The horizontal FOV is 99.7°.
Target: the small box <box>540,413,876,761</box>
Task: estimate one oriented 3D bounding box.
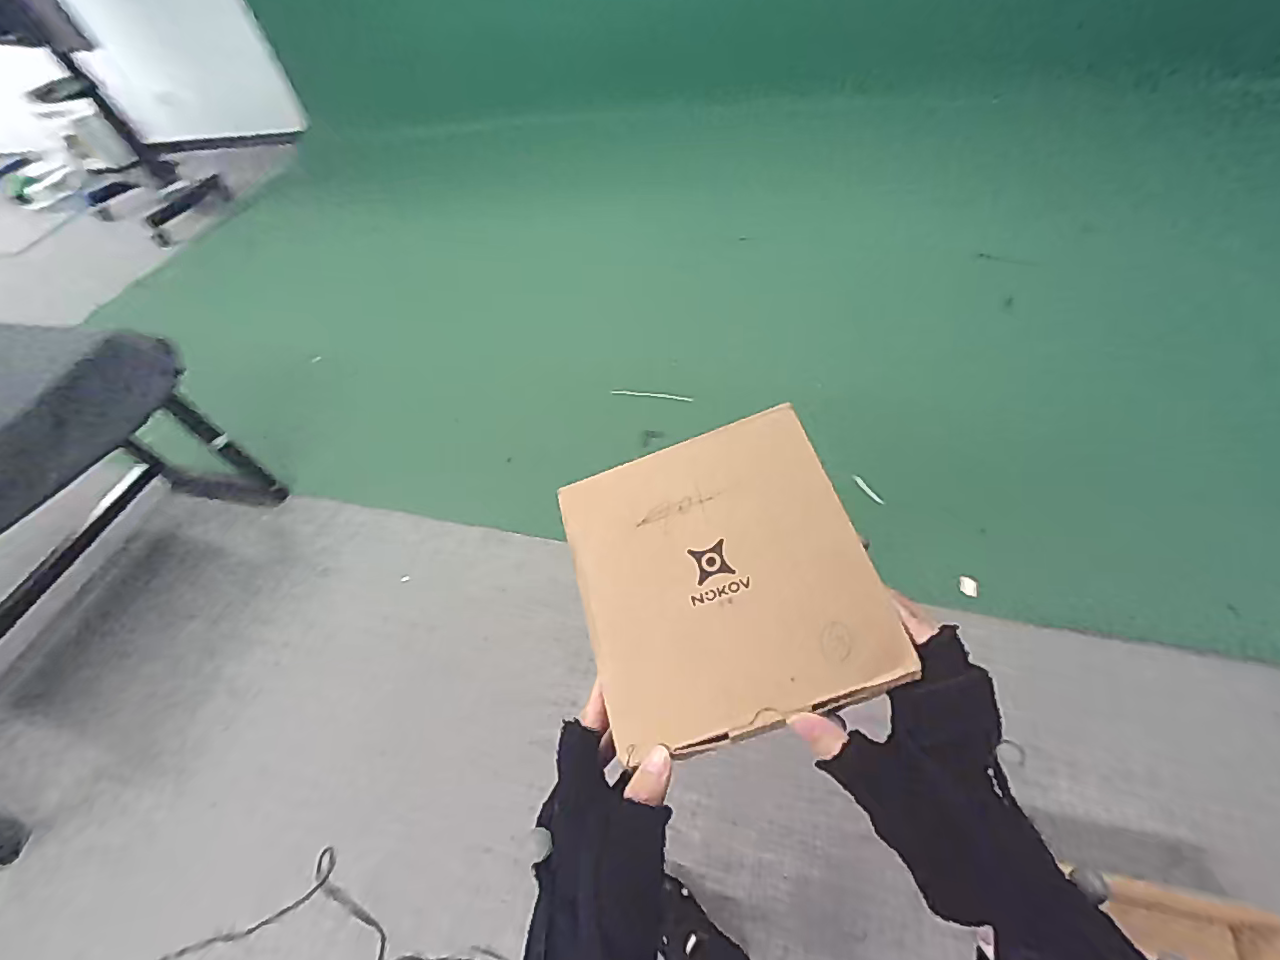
[{"bbox_3d":[0.048,0.087,0.399,0.168,0.176,0.179,-21,61,5],"label":"small box"}]
